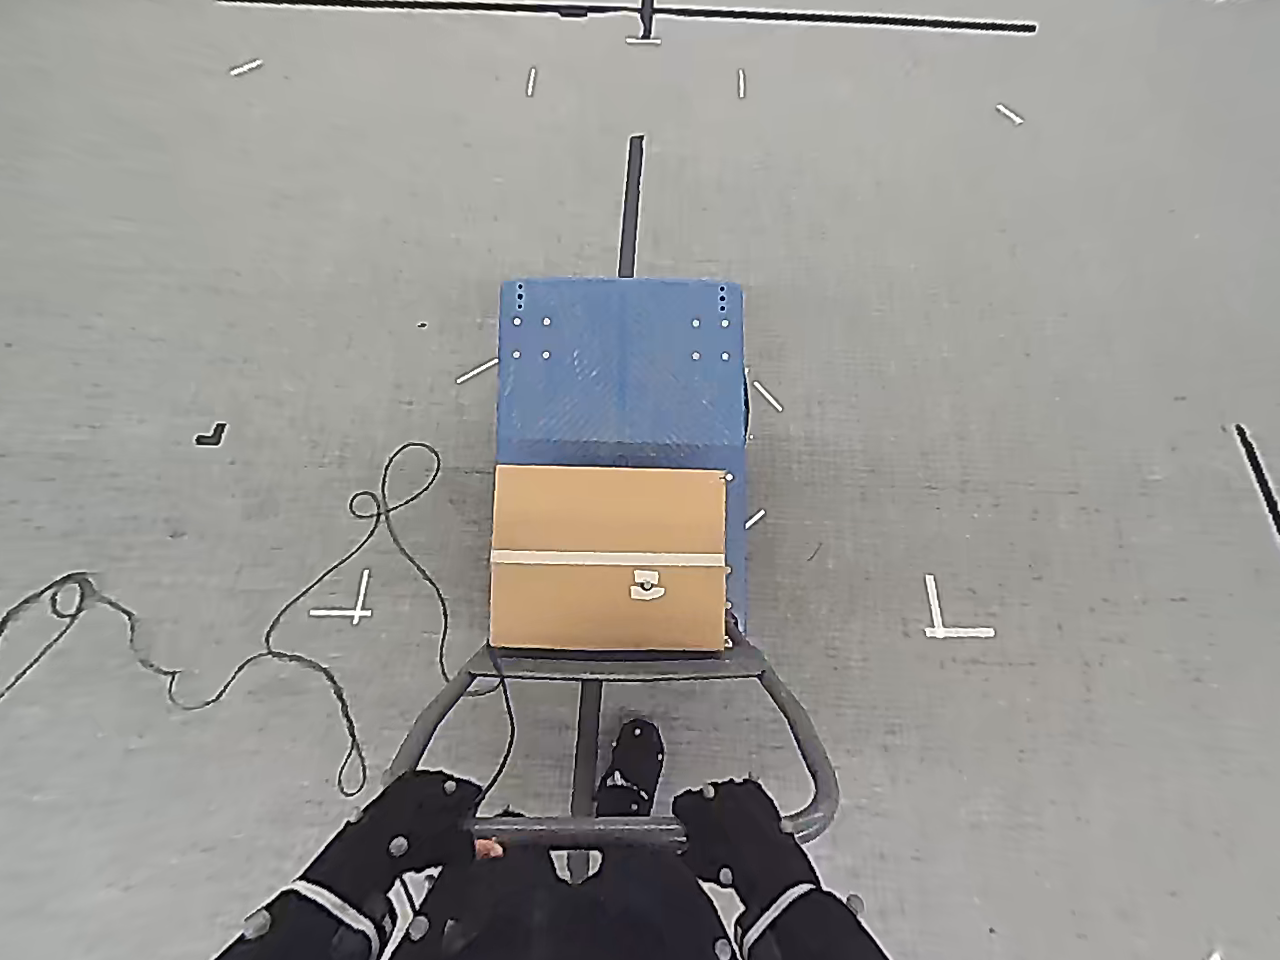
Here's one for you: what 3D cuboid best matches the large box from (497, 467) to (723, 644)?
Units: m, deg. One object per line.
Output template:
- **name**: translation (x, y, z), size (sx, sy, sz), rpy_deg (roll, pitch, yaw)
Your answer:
- **large box**: translation (-0.058, 0.147, 1.108), size (0.408, 0.320, 0.320), rpy_deg (2, 86, -2)
